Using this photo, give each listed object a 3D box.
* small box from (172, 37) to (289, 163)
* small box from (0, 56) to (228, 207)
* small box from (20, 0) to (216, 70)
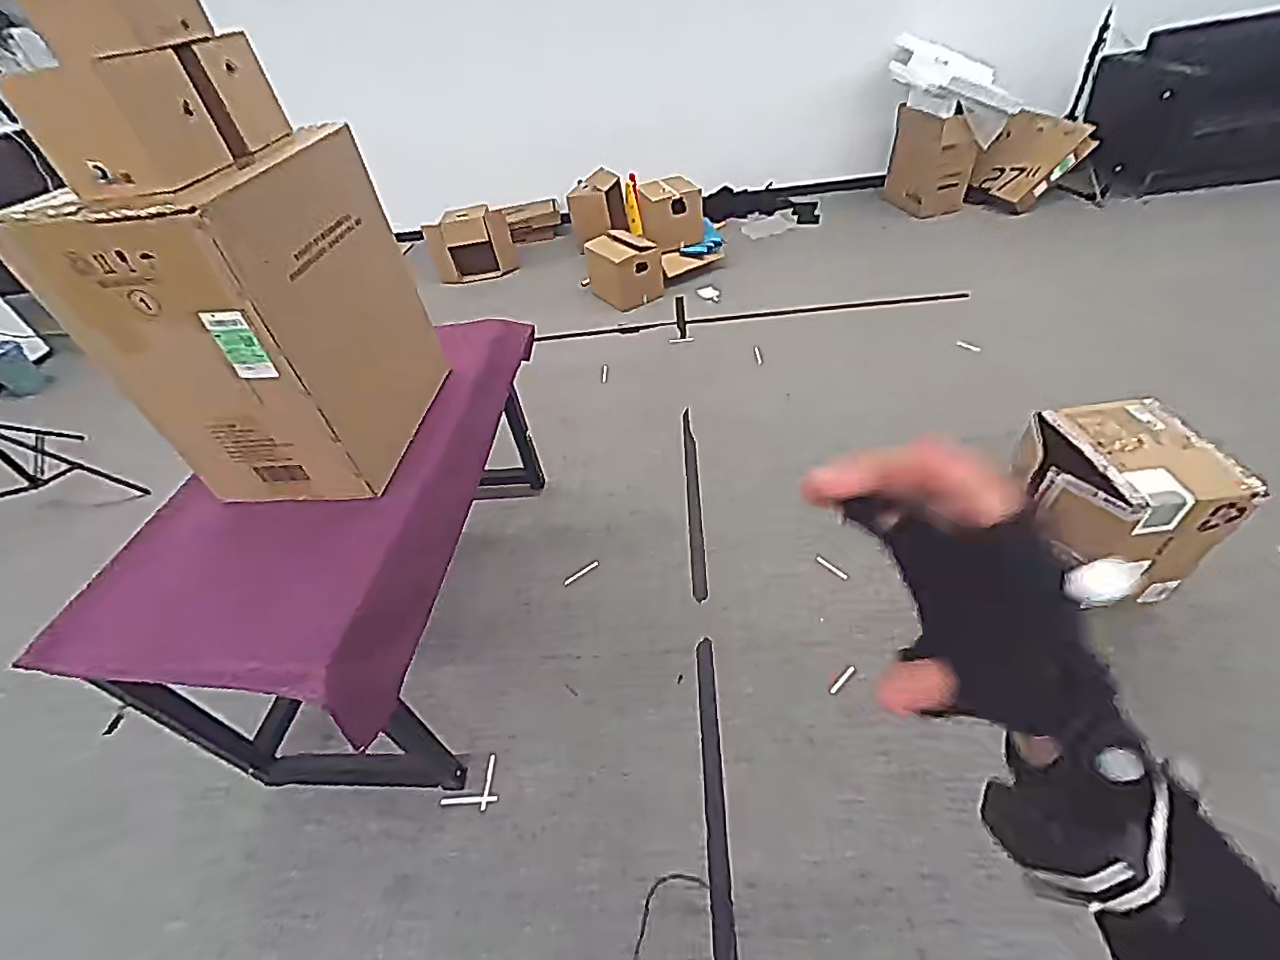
[{"bbox_3d":[-0.816,-0.712,1.026,0.168,0.176,0.179,-5,44,5],"label":"small box"},{"bbox_3d":[-0.815,-0.556,0.866,0.168,0.176,0.179,-6,43,5],"label":"small box"},{"bbox_3d":[-0.841,-0.767,0.852,0.179,0.176,0.168,1,46,12],"label":"small box"}]
